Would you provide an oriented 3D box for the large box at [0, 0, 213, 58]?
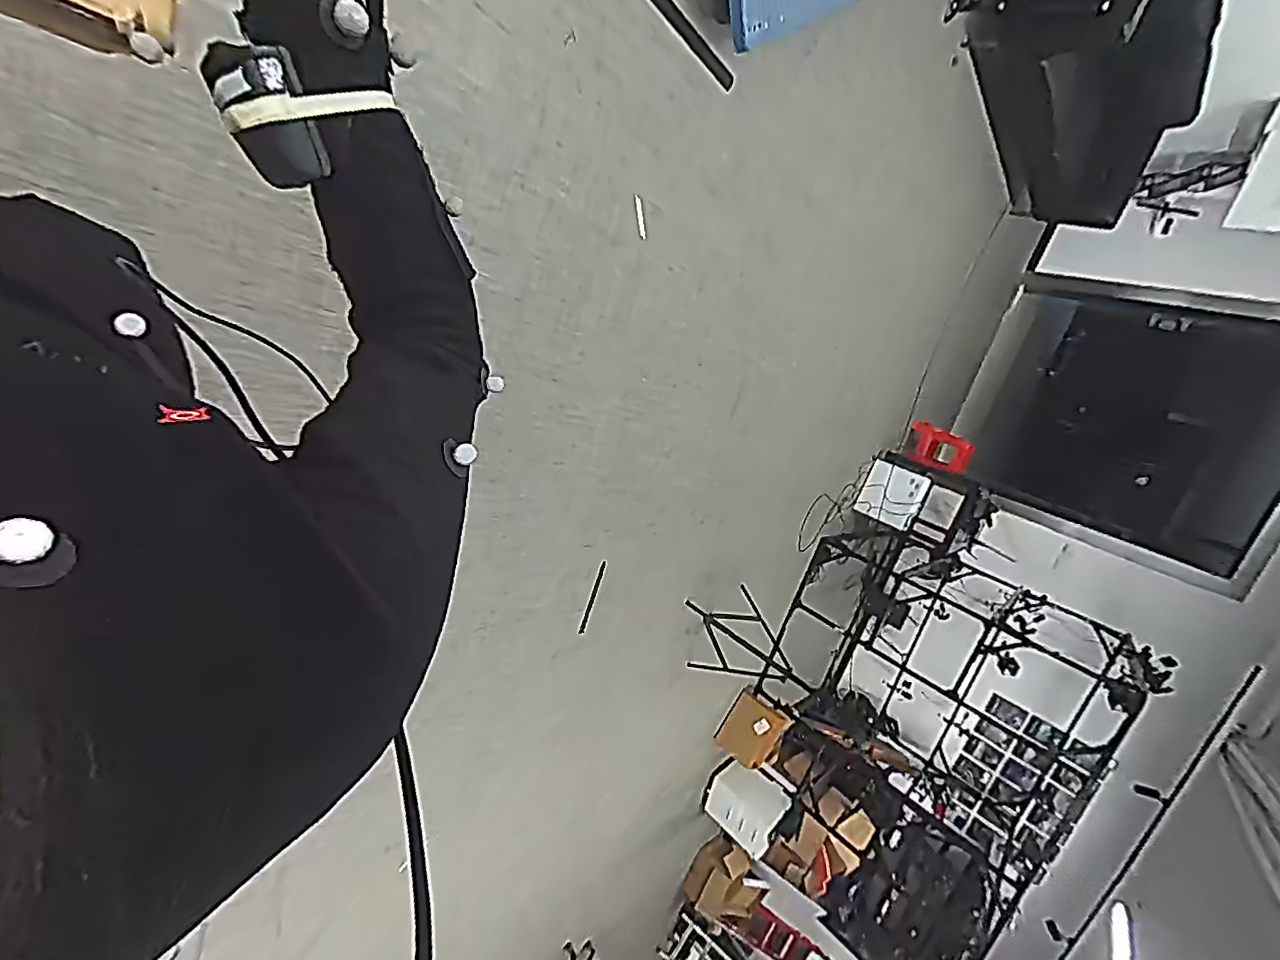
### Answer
[{"bbox_3d":[-0.368,-0.453,0.181,0.320,0.320,0.408,-5,122,-48],"label":"large box"}]
